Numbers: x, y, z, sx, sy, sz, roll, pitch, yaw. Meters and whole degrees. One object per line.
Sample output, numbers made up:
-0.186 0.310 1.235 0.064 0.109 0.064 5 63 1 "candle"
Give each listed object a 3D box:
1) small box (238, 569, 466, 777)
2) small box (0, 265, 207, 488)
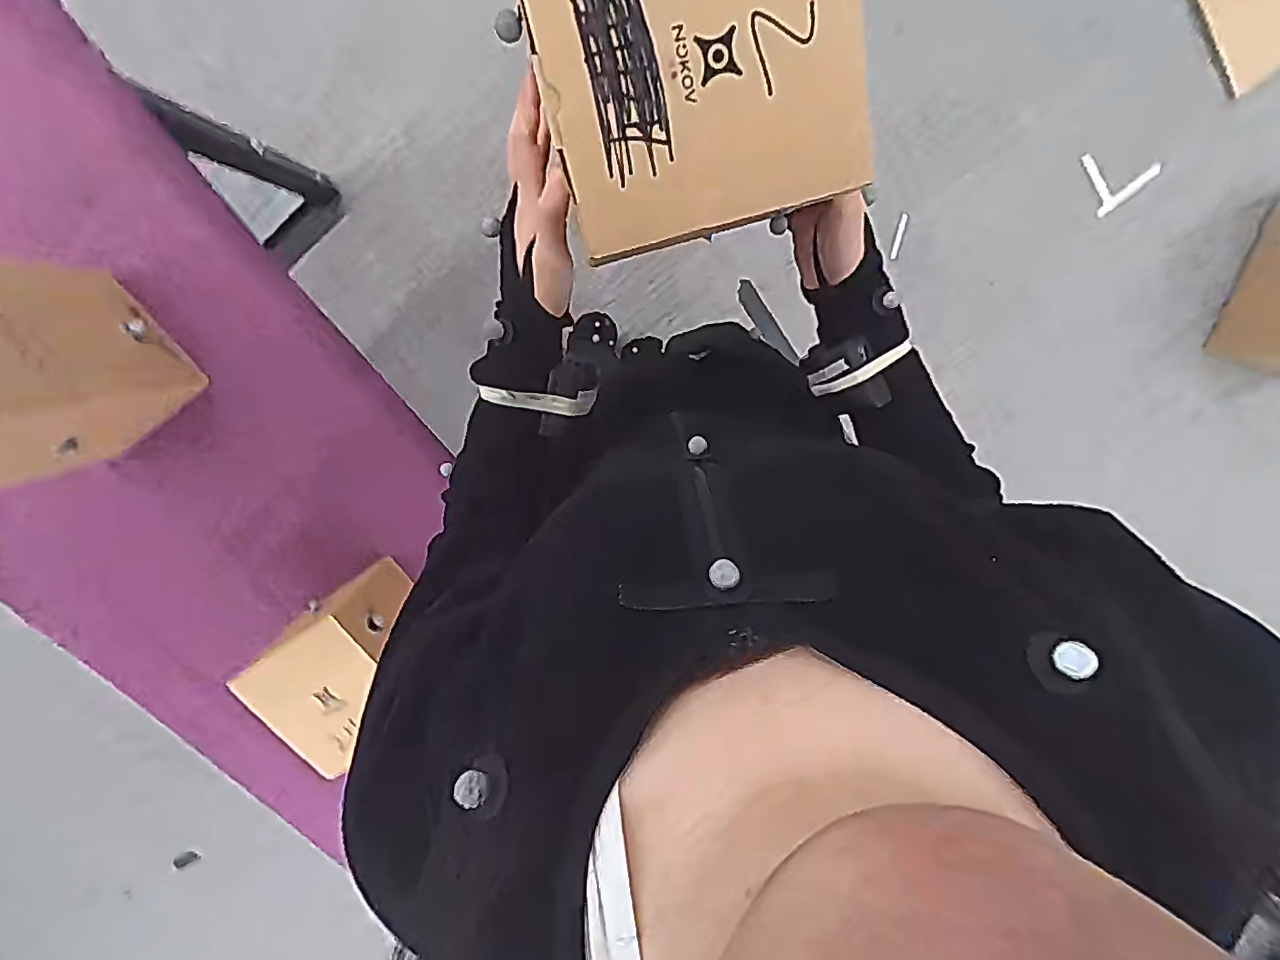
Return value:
-0.368 0.243 0.729 0.168 0.176 0.179 -33 105 8 "small box"
-0.661 -0.117 0.613 0.179 0.176 0.168 -34 105 7 "small box"
